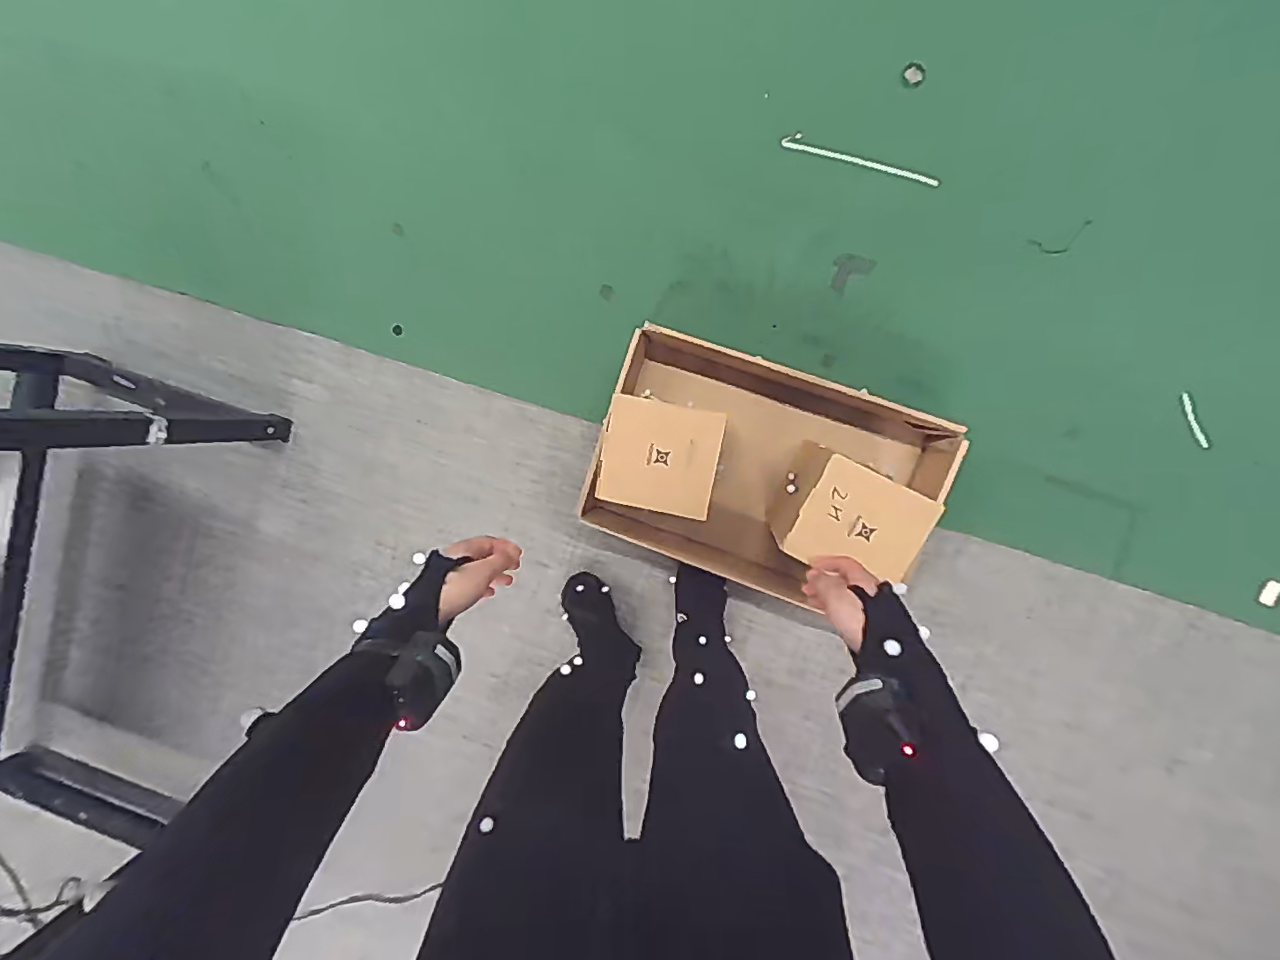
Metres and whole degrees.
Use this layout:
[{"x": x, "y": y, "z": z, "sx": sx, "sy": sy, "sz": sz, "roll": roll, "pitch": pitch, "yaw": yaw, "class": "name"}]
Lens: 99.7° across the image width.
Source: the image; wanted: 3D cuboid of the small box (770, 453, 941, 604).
[{"x": 0.327, "y": 0.065, "z": 0.862, "sx": 0.179, "sy": 0.176, "sz": 0.168, "roll": 28, "pitch": 99, "yaw": 4, "class": "small box"}]

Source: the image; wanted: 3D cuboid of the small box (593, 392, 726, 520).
[{"x": 0.035, "y": -0.045, "z": 0.885, "sx": 0.179, "sy": 0.176, "sz": 0.168, "roll": 11, "pitch": 99, "yaw": 4, "class": "small box"}]

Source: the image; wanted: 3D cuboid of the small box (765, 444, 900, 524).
[{"x": 0.350, "y": 0.041, "z": 1.024, "sx": 0.168, "sy": 0.176, "sz": 0.179, "roll": 27, "pitch": 100, "yaw": 4, "class": "small box"}]
